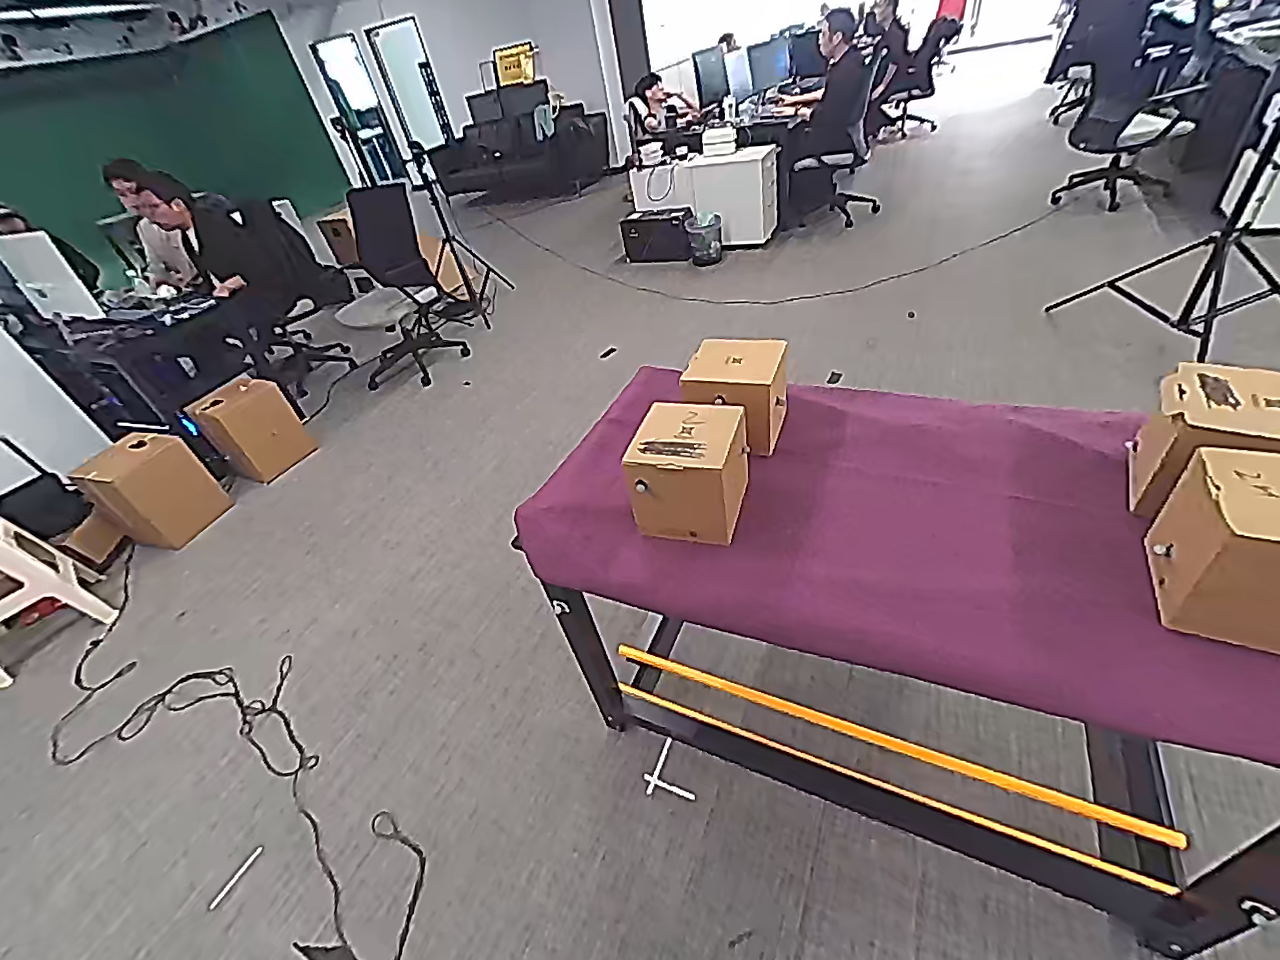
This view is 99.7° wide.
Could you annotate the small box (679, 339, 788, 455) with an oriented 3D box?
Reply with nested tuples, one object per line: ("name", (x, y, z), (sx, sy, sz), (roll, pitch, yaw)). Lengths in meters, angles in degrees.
("small box", (0.195, -0.167, 1.095), (0.179, 0.176, 0.168), (8, 43, 23))

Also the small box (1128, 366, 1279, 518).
("small box", (0.833, -0.039, 0.767), (0.179, 0.176, 0.168), (16, 49, 29))

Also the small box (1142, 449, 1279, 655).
("small box", (0.747, 0.089, 0.638), (0.179, 0.176, 0.168), (11, 43, 27))
